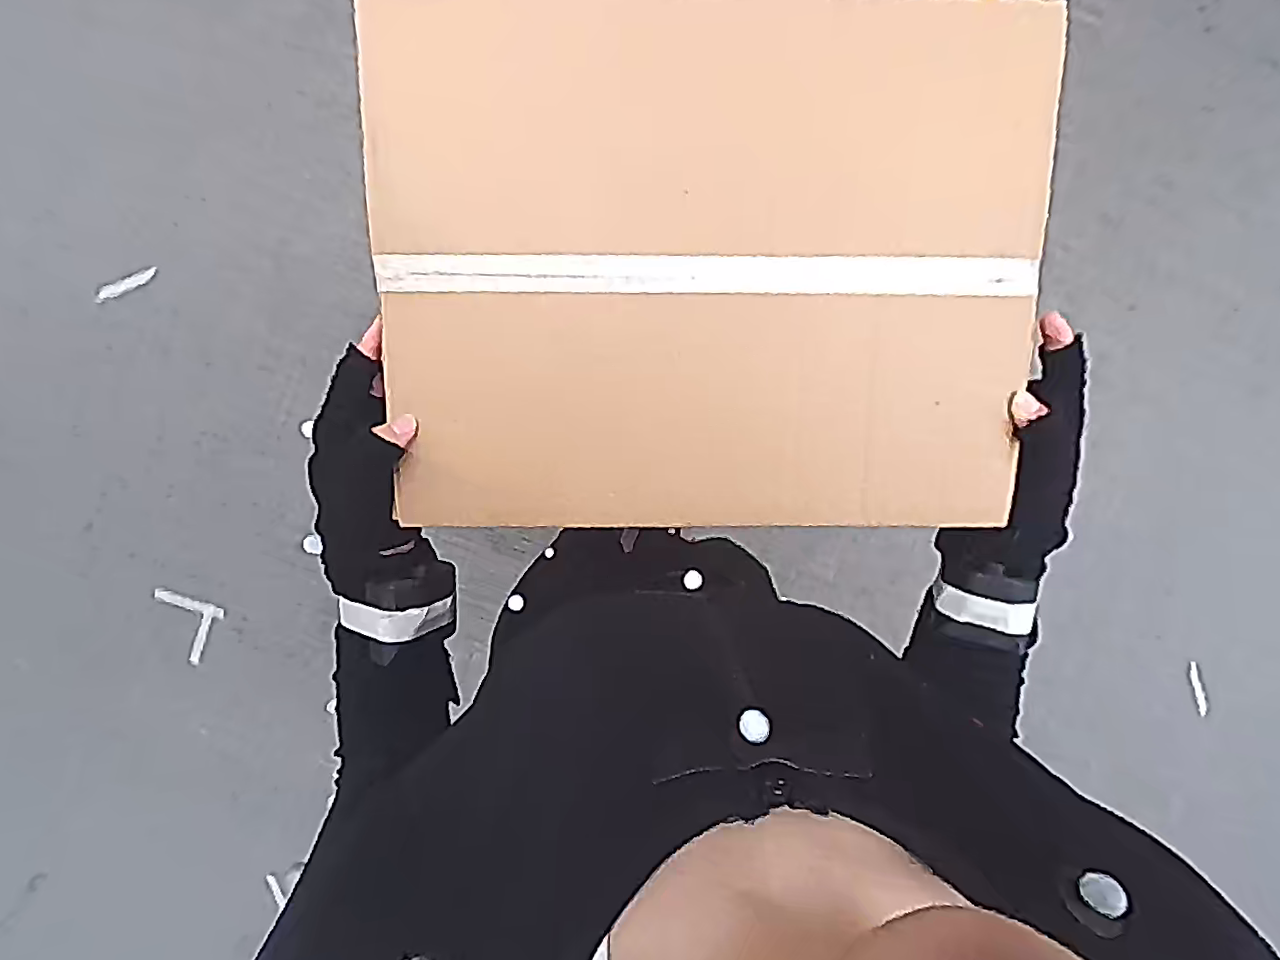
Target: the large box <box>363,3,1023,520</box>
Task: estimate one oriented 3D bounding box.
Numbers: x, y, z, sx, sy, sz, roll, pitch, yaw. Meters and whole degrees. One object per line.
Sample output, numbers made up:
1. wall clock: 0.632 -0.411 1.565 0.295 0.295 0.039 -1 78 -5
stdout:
1. large box: 0.032 -0.154 0.491 0.408 0.320 0.320 -1 100 -2
